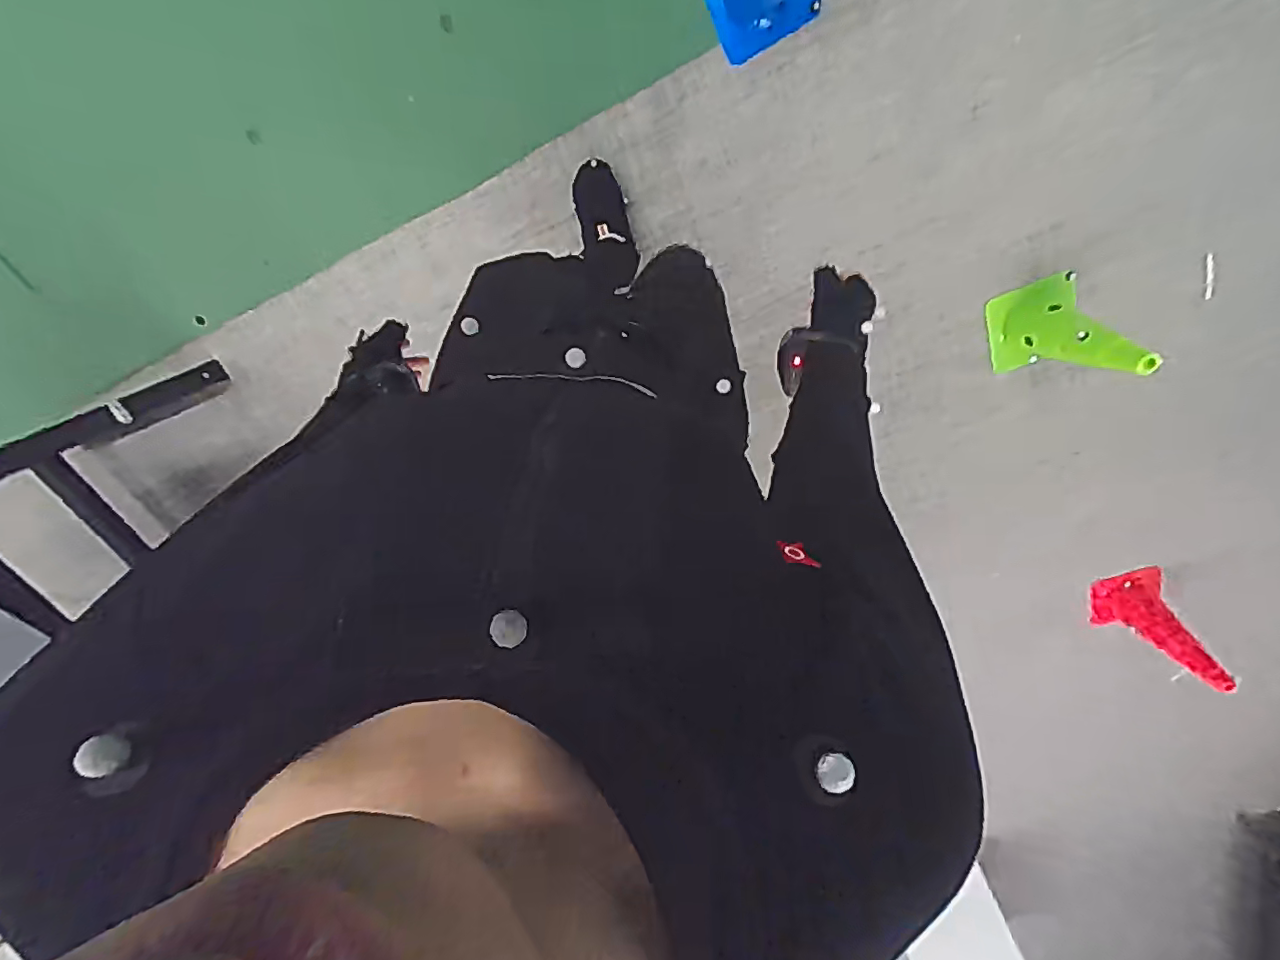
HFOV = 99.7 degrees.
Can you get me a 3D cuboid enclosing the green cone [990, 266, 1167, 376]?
[{"bbox_3d":[0.955,-0.303,1.158,0.200,0.368,0.202,-21,117,13],"label":"green cone"}]
